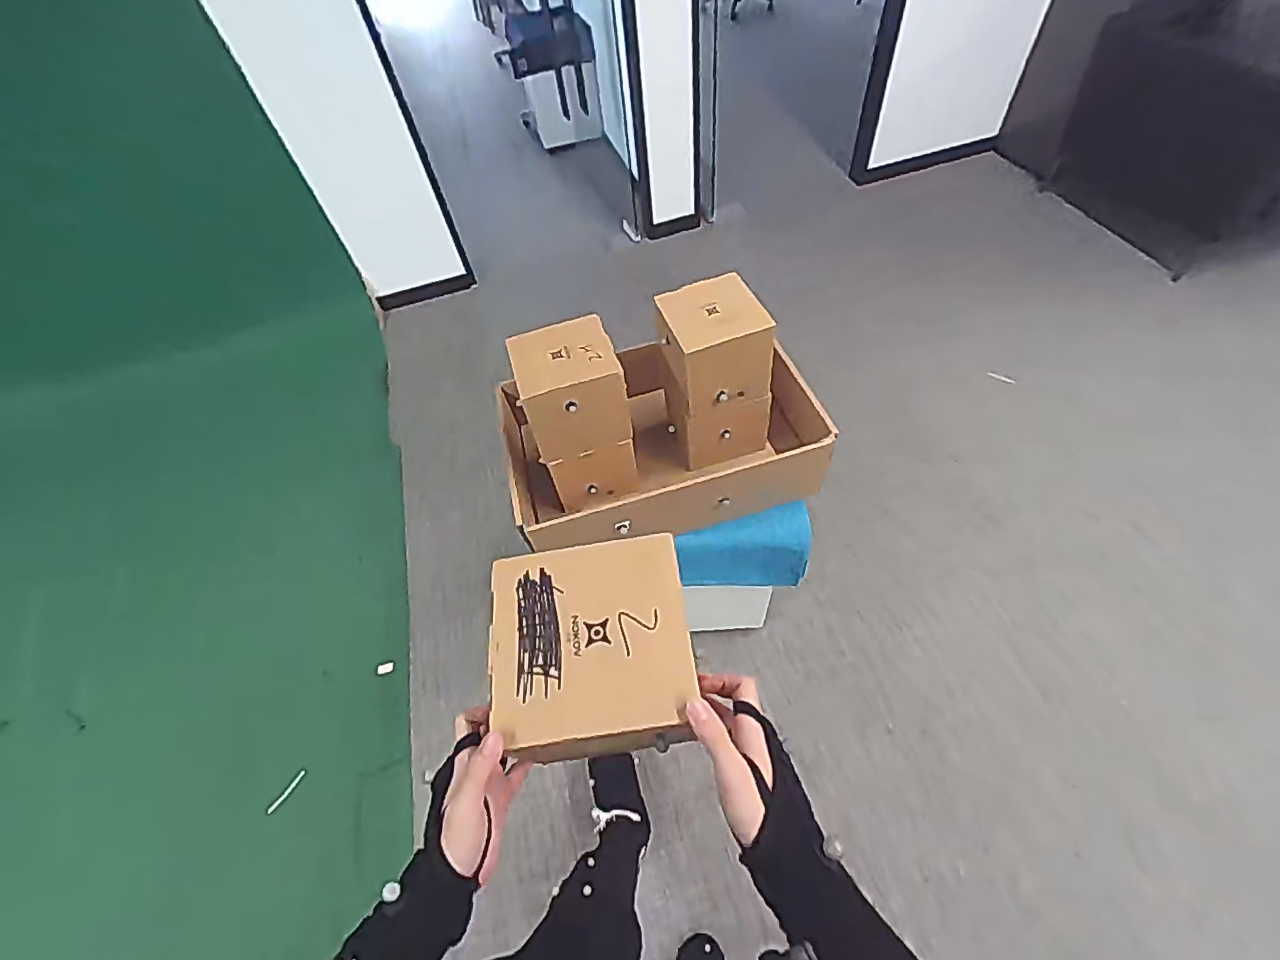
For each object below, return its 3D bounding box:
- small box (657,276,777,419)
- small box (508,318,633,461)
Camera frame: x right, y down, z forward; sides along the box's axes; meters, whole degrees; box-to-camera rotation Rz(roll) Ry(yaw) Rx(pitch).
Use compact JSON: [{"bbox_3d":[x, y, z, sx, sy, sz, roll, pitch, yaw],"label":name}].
[{"bbox_3d":[0.139,-0.245,1.012,0.168,0.176,0.179,-18,53,-4],"label":"small box"},{"bbox_3d":[-0.122,-0.159,0.982,0.179,0.176,0.168,-17,54,-6],"label":"small box"}]
